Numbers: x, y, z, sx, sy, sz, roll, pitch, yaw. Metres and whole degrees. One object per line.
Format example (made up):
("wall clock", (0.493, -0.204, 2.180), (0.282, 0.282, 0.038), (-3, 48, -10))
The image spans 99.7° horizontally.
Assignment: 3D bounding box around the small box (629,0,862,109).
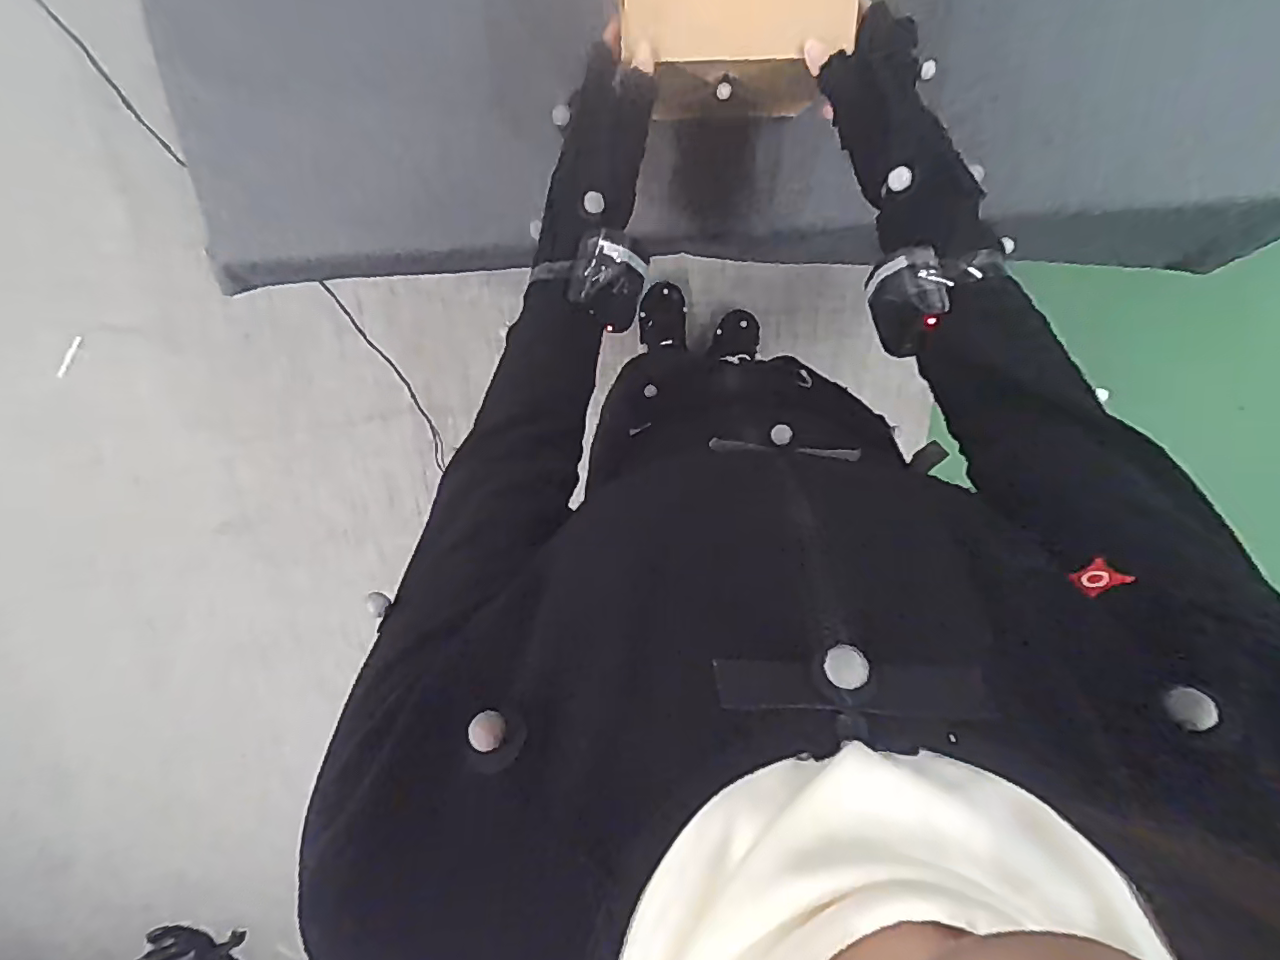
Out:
("small box", (0.080, -0.435, 0.461), (0.179, 0.176, 0.168), (-1, 112, 1))
